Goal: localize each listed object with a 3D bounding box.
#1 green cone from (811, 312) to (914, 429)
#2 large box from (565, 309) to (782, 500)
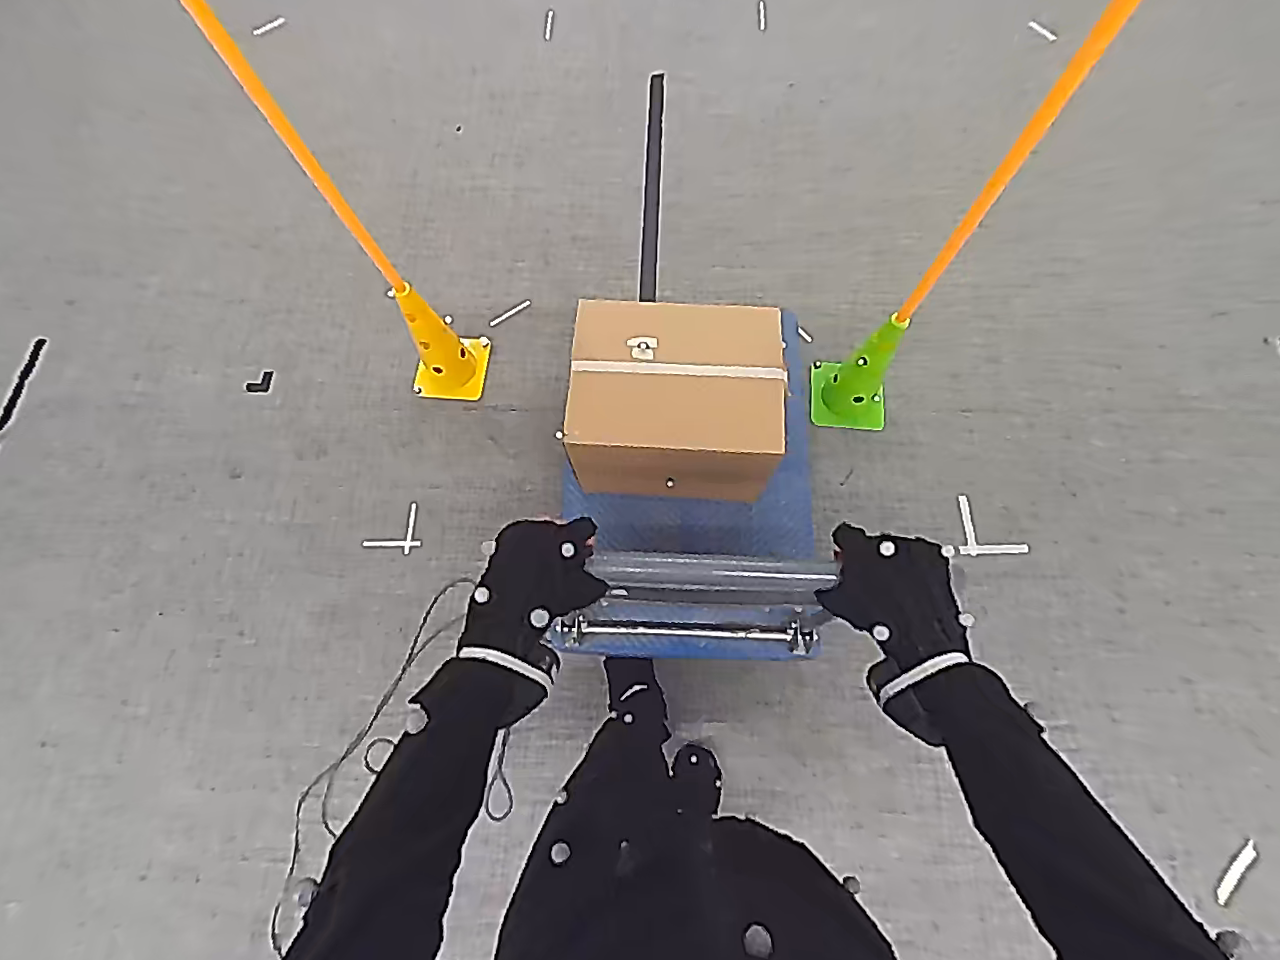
[{"bbox_3d":[0.580,-0.295,1.359,0.202,0.368,0.200,5,72,2],"label":"green cone"},{"bbox_3d":[0.073,-0.147,1.172,0.408,0.320,0.320,3,71,3],"label":"large box"}]
